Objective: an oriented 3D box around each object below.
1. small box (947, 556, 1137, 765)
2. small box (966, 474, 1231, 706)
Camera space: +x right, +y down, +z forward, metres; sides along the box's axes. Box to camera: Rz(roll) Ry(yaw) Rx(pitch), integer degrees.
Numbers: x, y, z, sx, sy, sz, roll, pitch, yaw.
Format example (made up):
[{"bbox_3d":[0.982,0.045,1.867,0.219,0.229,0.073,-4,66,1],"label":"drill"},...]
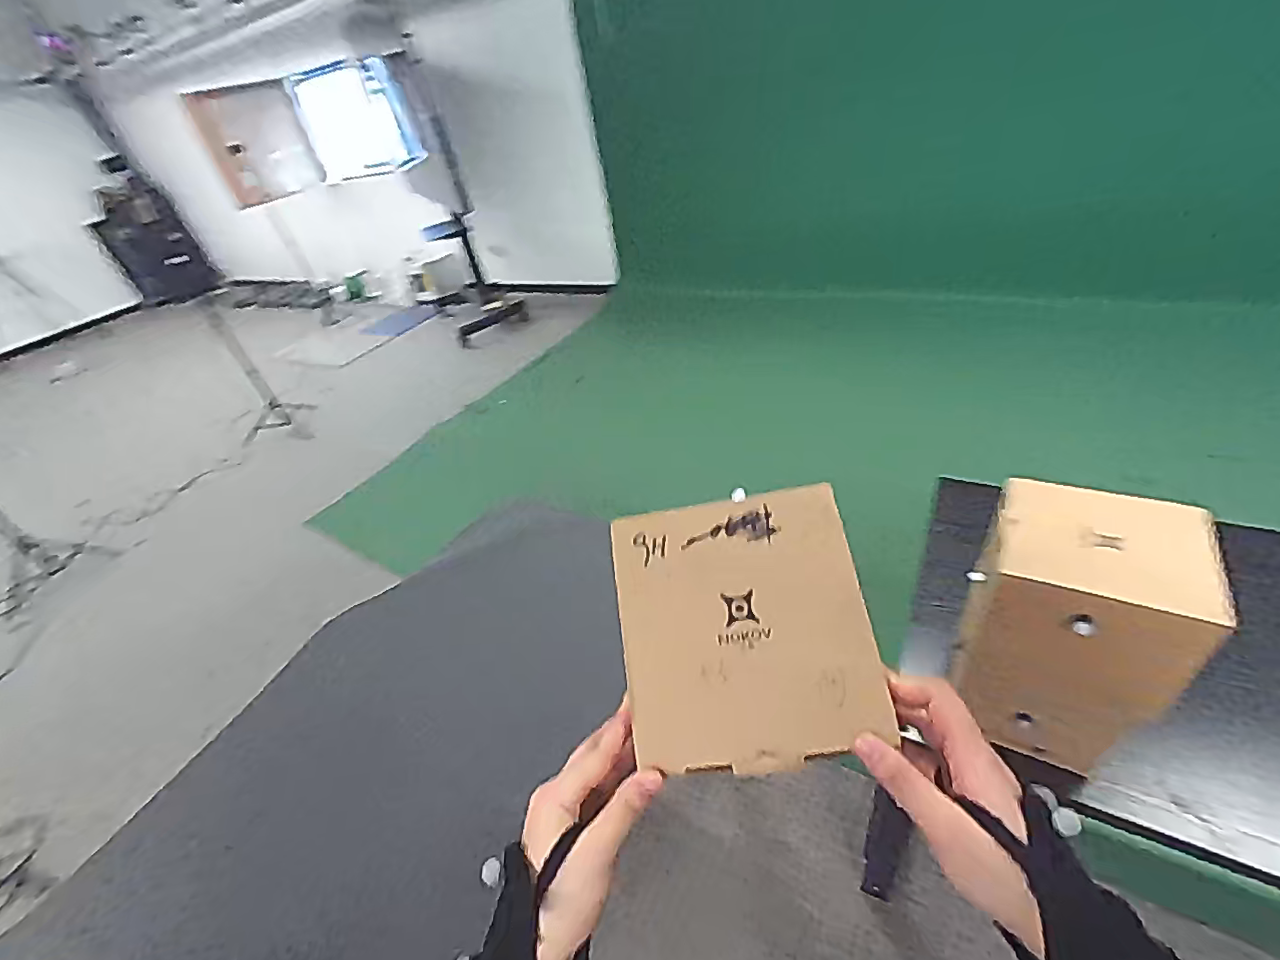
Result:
[{"bbox_3d":[0.518,0.236,0.715,0.168,0.176,0.179,13,44,28],"label":"small box"},{"bbox_3d":[0.488,0.121,0.604,0.179,0.176,0.168,12,44,29],"label":"small box"}]
